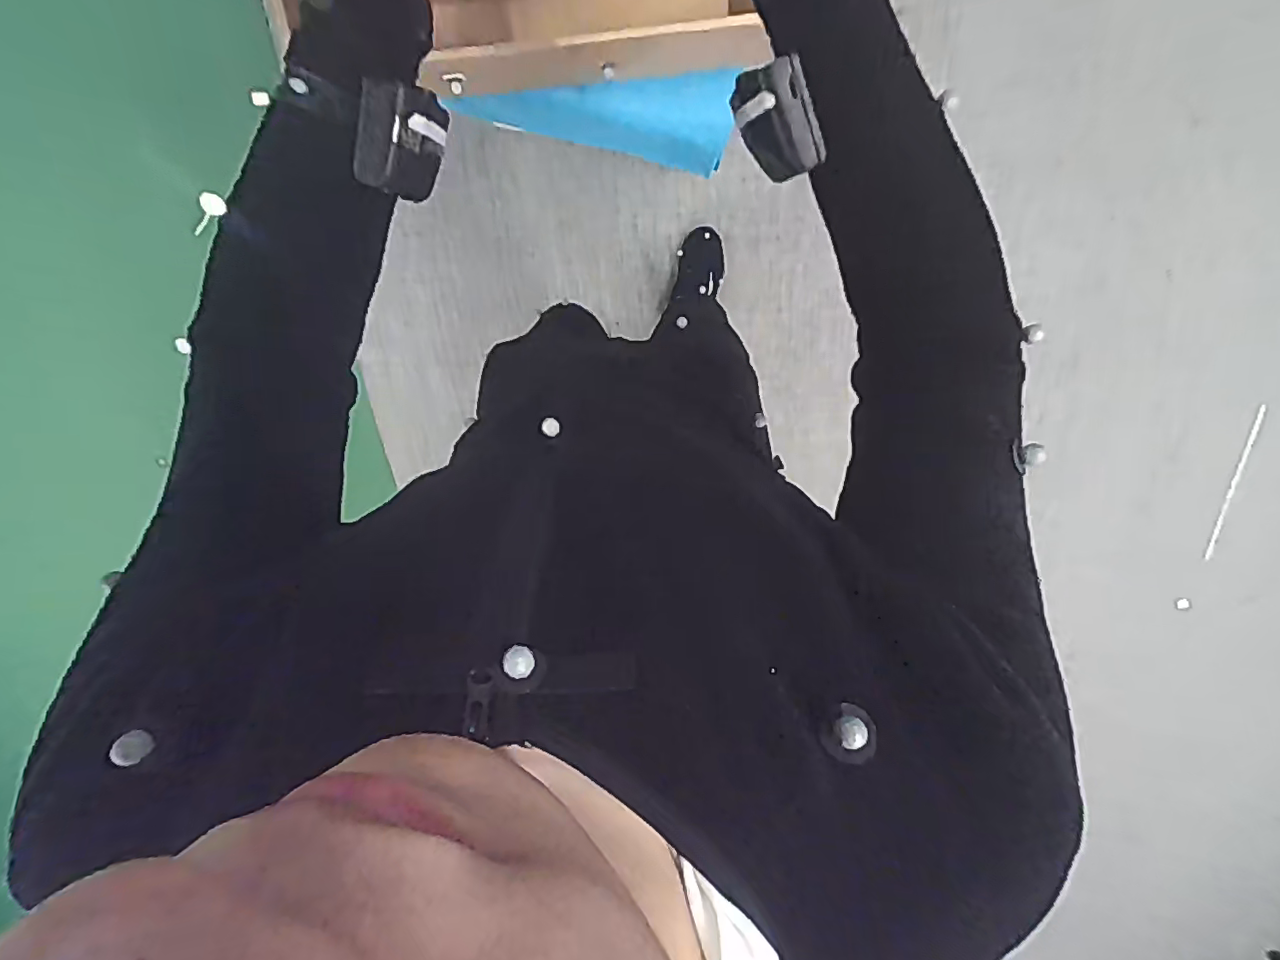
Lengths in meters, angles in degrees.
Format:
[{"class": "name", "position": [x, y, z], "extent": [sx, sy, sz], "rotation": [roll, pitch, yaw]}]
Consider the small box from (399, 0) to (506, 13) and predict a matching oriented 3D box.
[{"class": "small box", "position": [-0.260, -0.693, 0.627], "extent": [0.168, 0.176, 0.179], "rotation": [-1, 111, 7]}]
